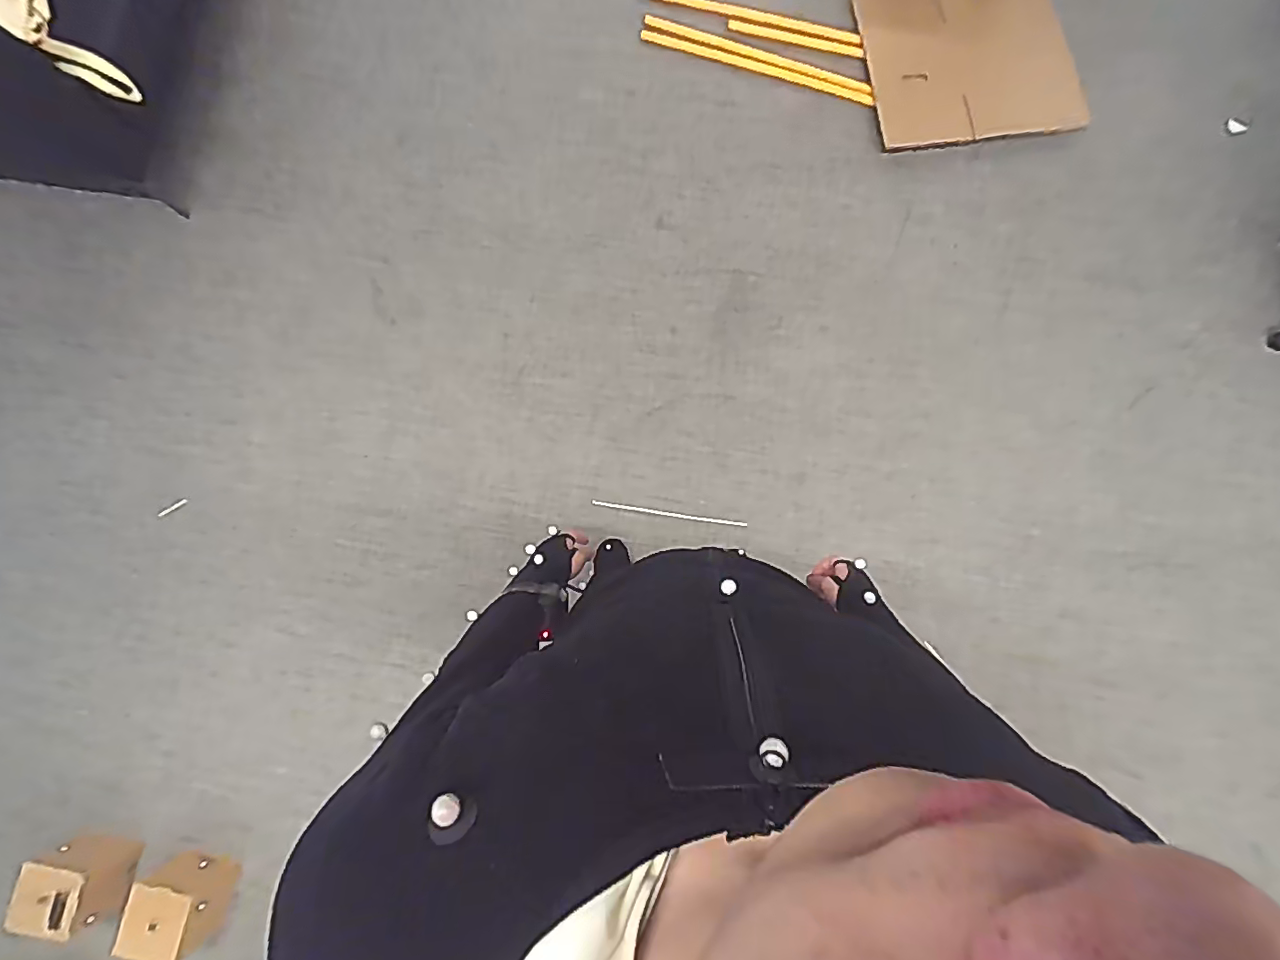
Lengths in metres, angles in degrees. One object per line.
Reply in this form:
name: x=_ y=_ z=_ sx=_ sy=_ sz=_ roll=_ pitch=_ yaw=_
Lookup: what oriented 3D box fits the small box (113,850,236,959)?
small box: x=-1.246 y=1.151 z=1.462 sx=0.168 sy=0.176 sz=0.179 roll=11 pitch=82 yaw=3
